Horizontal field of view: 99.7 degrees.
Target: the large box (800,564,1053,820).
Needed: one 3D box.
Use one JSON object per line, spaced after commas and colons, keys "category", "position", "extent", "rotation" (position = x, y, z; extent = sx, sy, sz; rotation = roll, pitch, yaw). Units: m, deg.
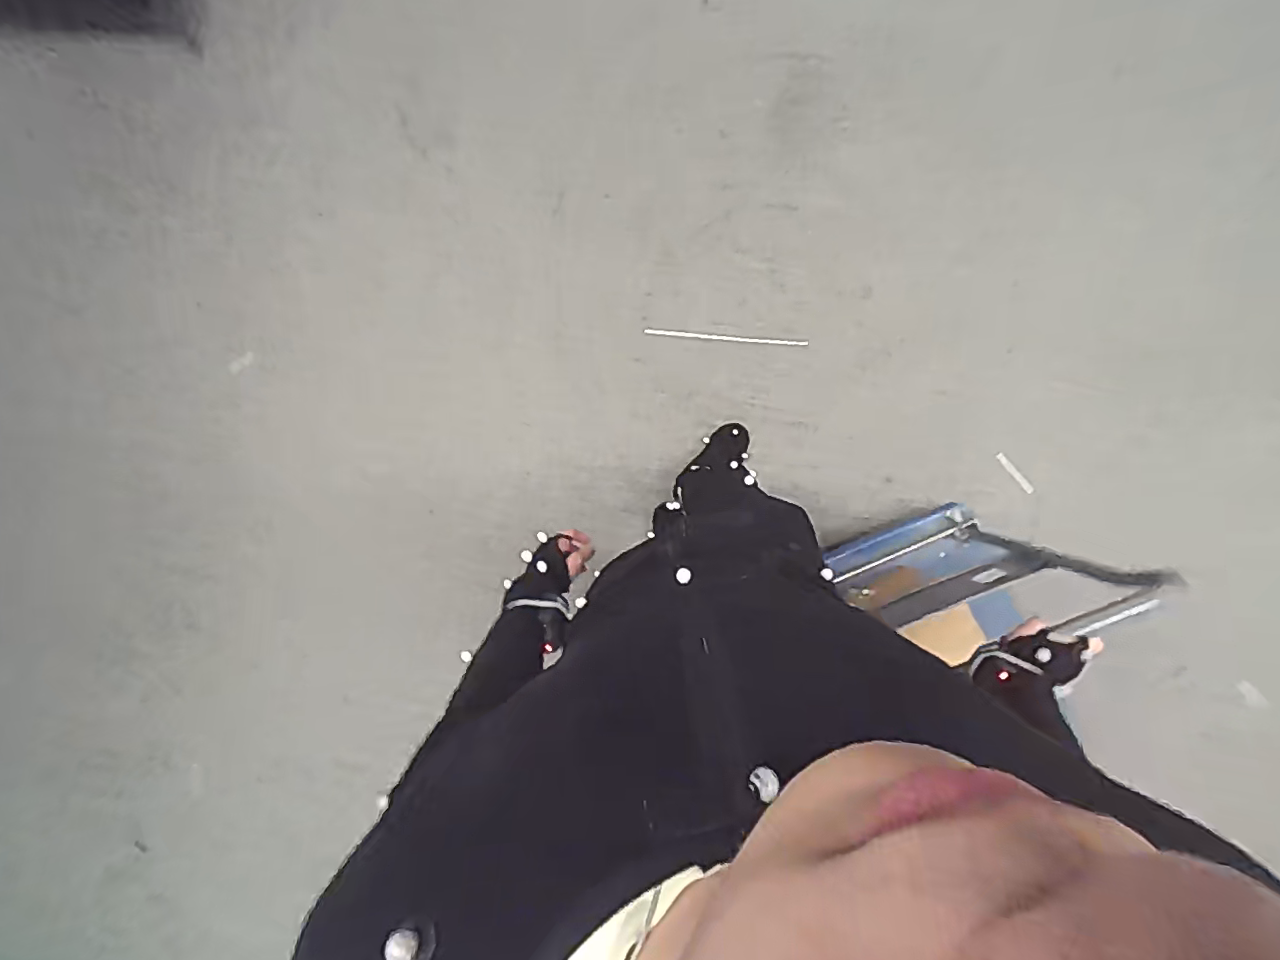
{"category": "large box", "position": [0.630, 0.462, 1.264], "extent": [0.320, 0.320, 0.408], "rotation": [-27, 90, 6]}
